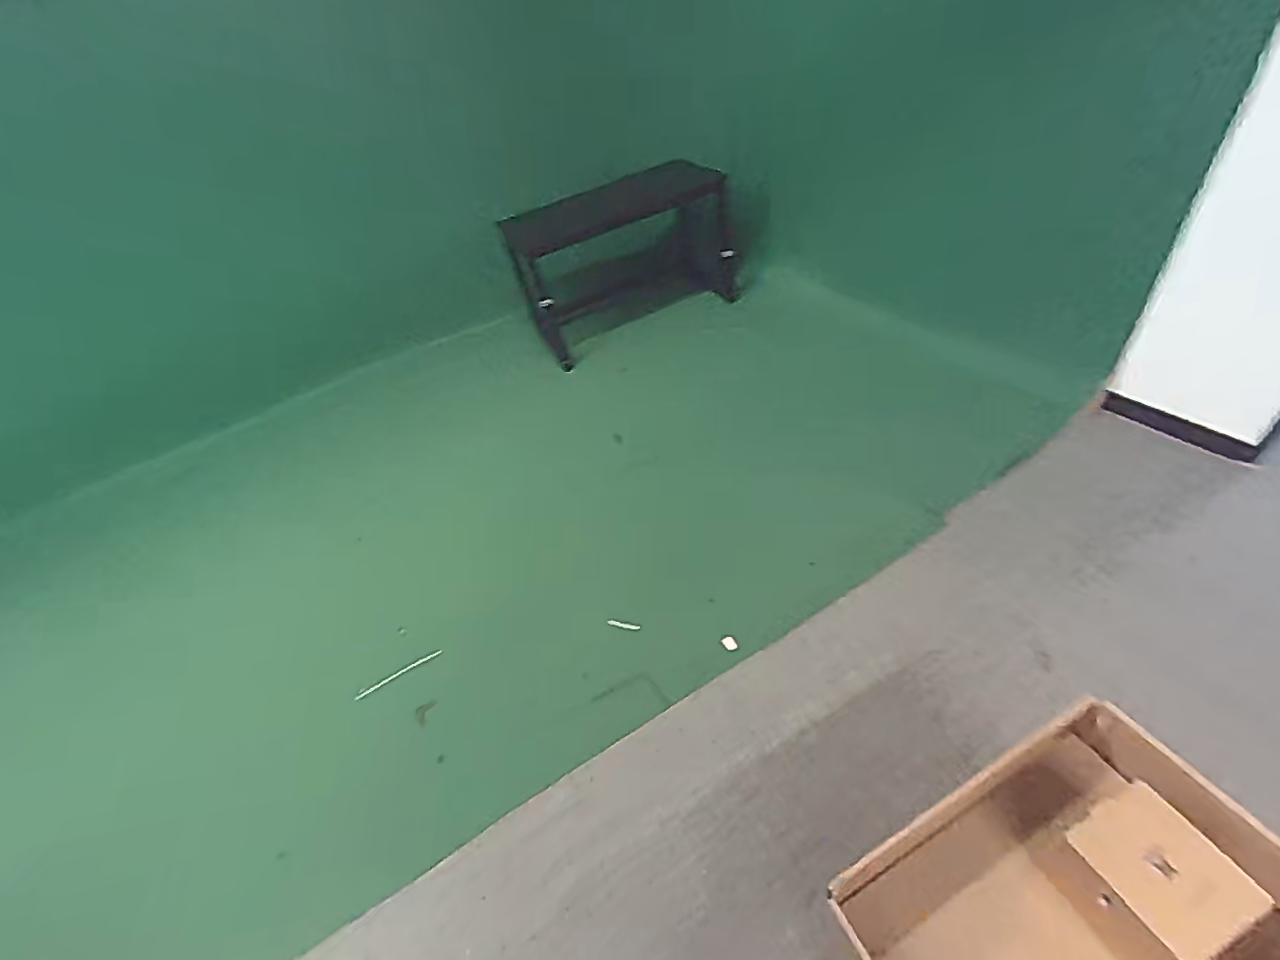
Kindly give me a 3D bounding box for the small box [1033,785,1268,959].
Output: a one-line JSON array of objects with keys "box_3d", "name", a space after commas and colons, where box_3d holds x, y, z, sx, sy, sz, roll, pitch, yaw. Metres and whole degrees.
[{"box_3d": [0.760, 0.618, 0.832, 0.168, 0.176, 0.179, -24, 45, -10], "name": "small box"}]
